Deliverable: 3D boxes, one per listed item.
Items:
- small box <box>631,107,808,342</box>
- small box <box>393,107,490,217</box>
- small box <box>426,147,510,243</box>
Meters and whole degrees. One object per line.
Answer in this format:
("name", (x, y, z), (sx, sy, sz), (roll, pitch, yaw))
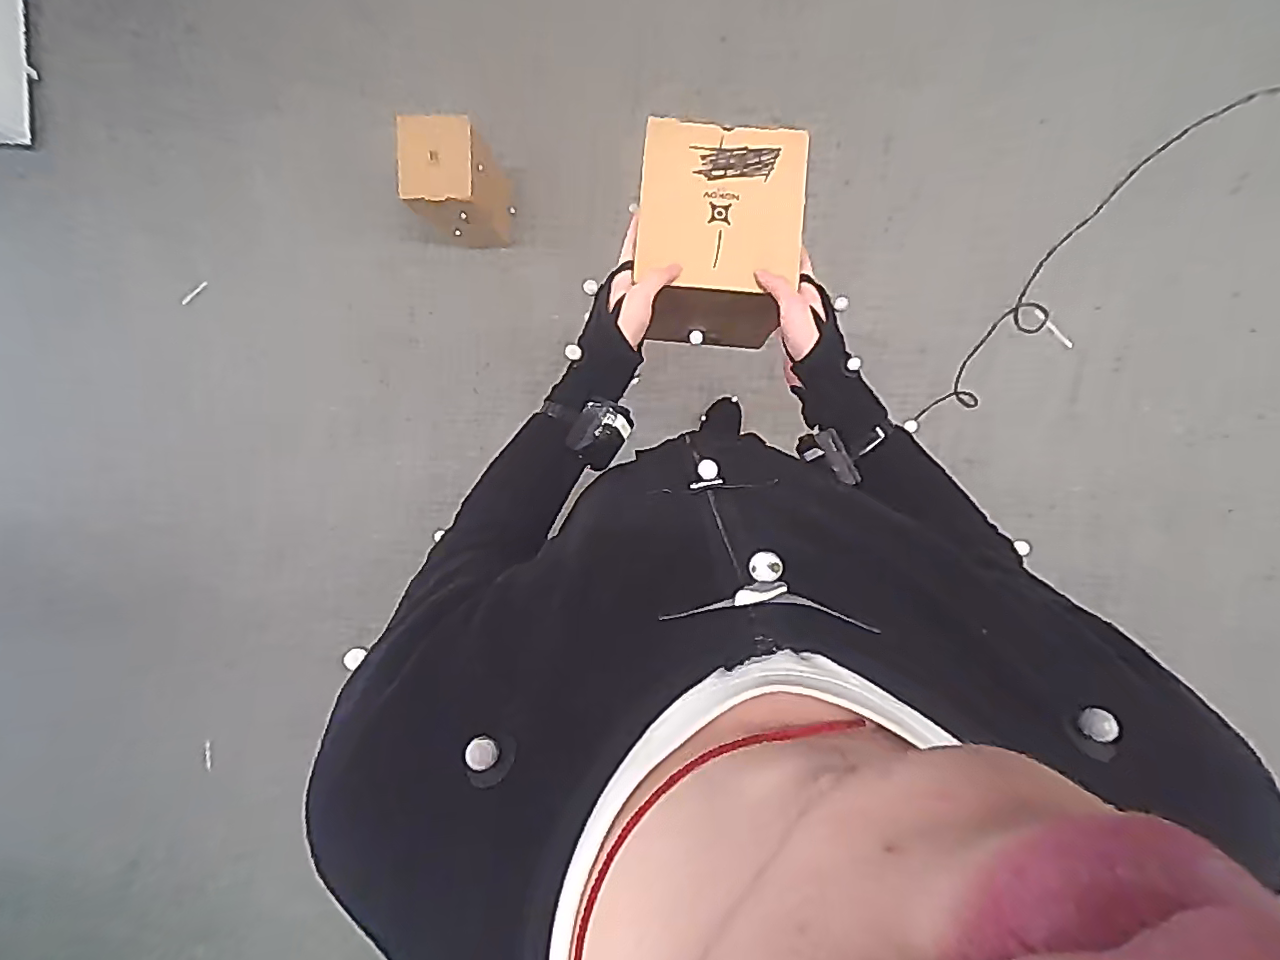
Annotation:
("small box", (0.079, -0.275, 0.617), (0.168, 0.176, 0.179), (6, 87, 0))
("small box", (-0.454, -0.730, 1.261), (0.168, 0.176, 0.179), (1, 95, 2))
("small box", (-0.446, -0.747, 1.422), (0.168, 0.176, 0.179), (3, 96, 3))
